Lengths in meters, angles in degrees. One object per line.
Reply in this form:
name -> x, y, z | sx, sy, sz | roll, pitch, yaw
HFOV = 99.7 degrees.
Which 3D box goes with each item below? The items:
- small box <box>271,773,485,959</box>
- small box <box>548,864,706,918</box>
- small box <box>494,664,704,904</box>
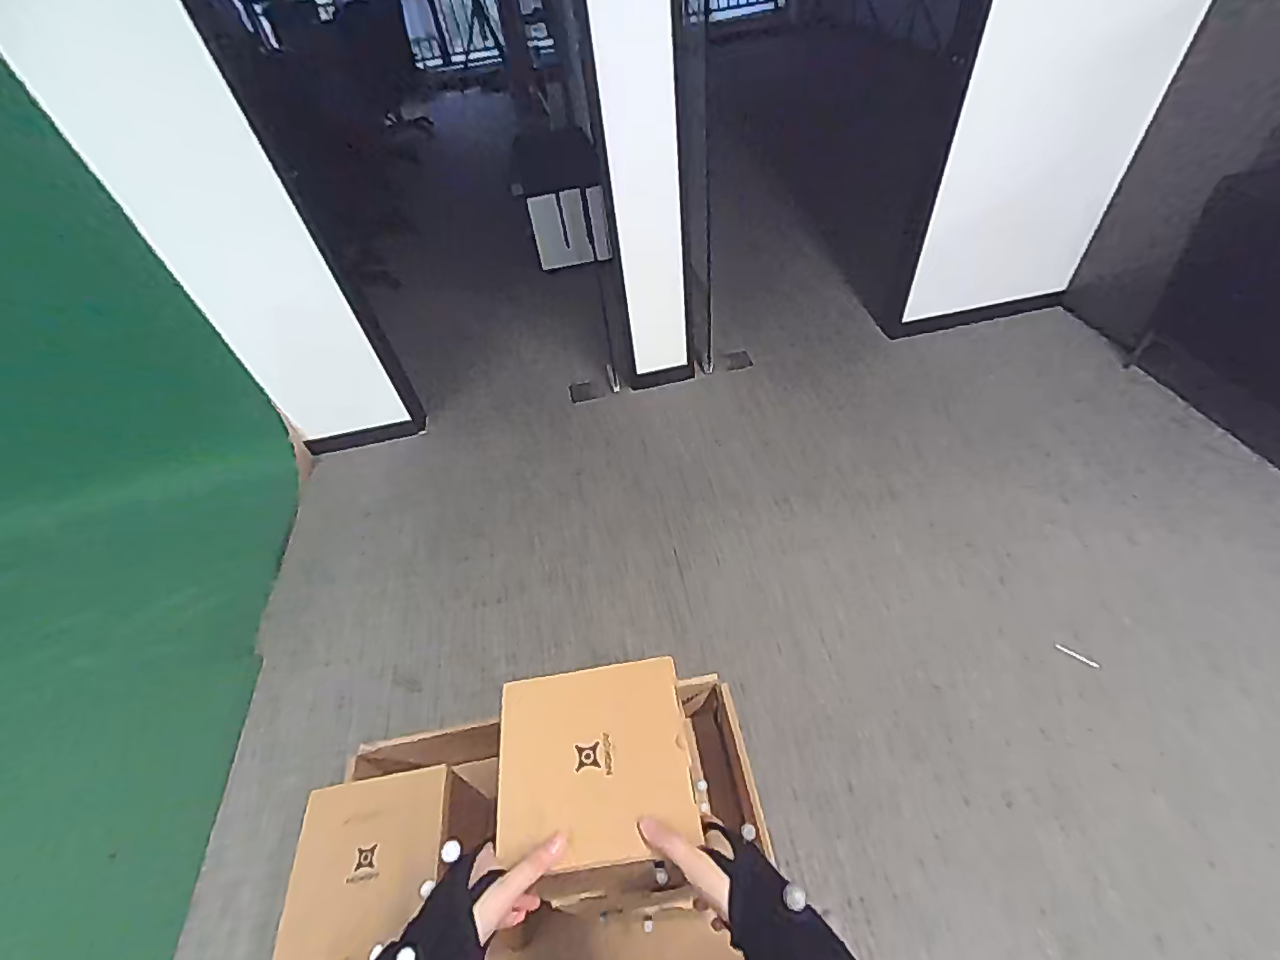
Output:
small box -> -0.293, 0.481, 0.650 | 0.168, 0.176, 0.179 | -9, 47, -2
small box -> -0.014, 0.422, 0.669 | 0.168, 0.176, 0.179 | -8, 47, 0
small box -> -0.034, 0.312, 0.551 | 0.179, 0.176, 0.168 | -9, 47, -1
